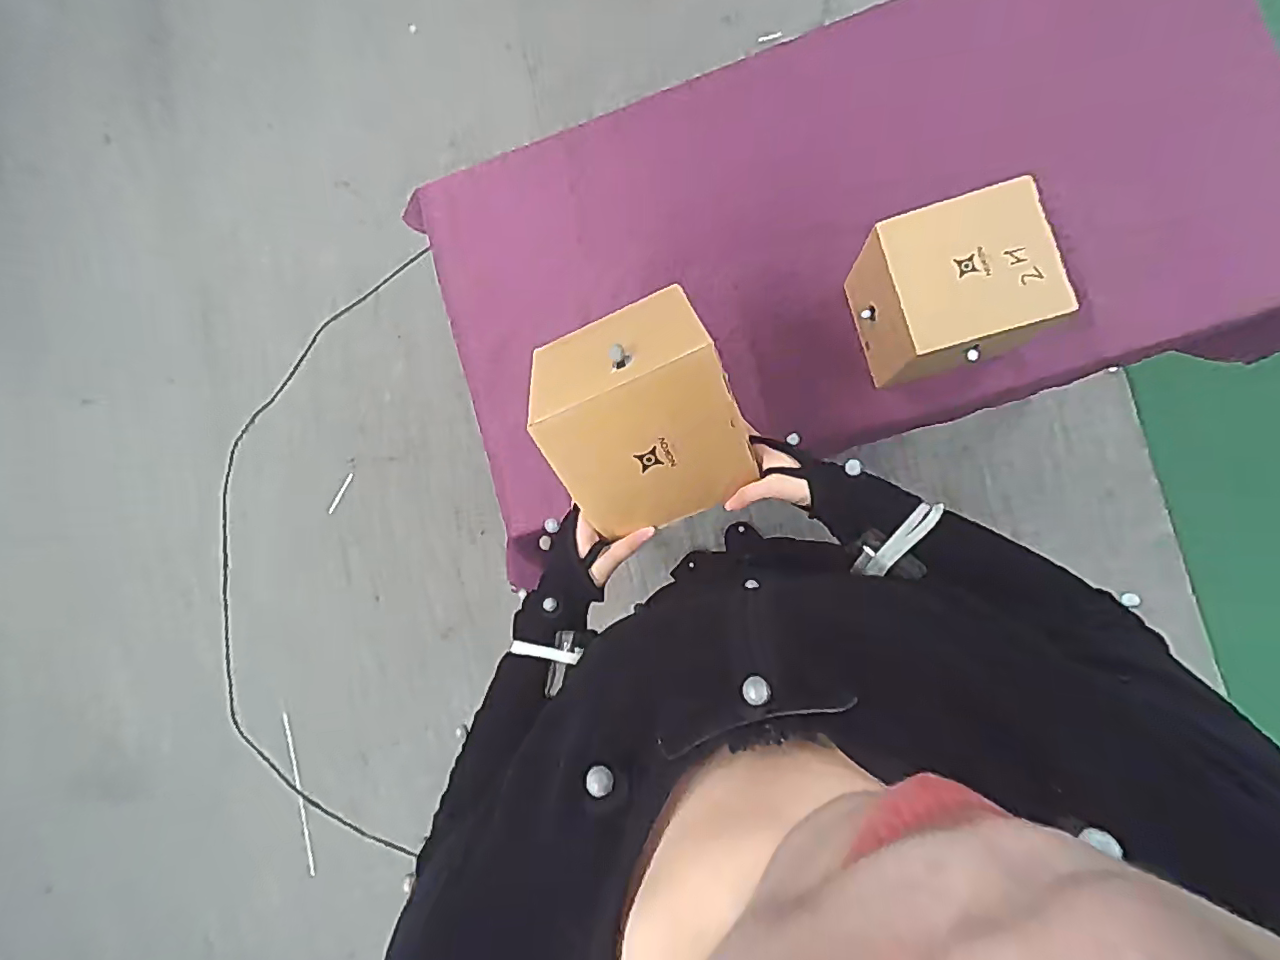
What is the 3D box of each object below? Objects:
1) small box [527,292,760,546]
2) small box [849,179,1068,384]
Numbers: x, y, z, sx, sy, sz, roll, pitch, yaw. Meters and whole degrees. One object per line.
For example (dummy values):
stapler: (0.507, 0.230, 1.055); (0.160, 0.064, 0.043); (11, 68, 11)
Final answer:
small box: (0.001, -0.068, 0.565); (0.179, 0.176, 0.168); (-23, 126, 7)
small box: (0.382, -0.235, 0.691); (0.179, 0.176, 0.168); (-15, 85, 7)
